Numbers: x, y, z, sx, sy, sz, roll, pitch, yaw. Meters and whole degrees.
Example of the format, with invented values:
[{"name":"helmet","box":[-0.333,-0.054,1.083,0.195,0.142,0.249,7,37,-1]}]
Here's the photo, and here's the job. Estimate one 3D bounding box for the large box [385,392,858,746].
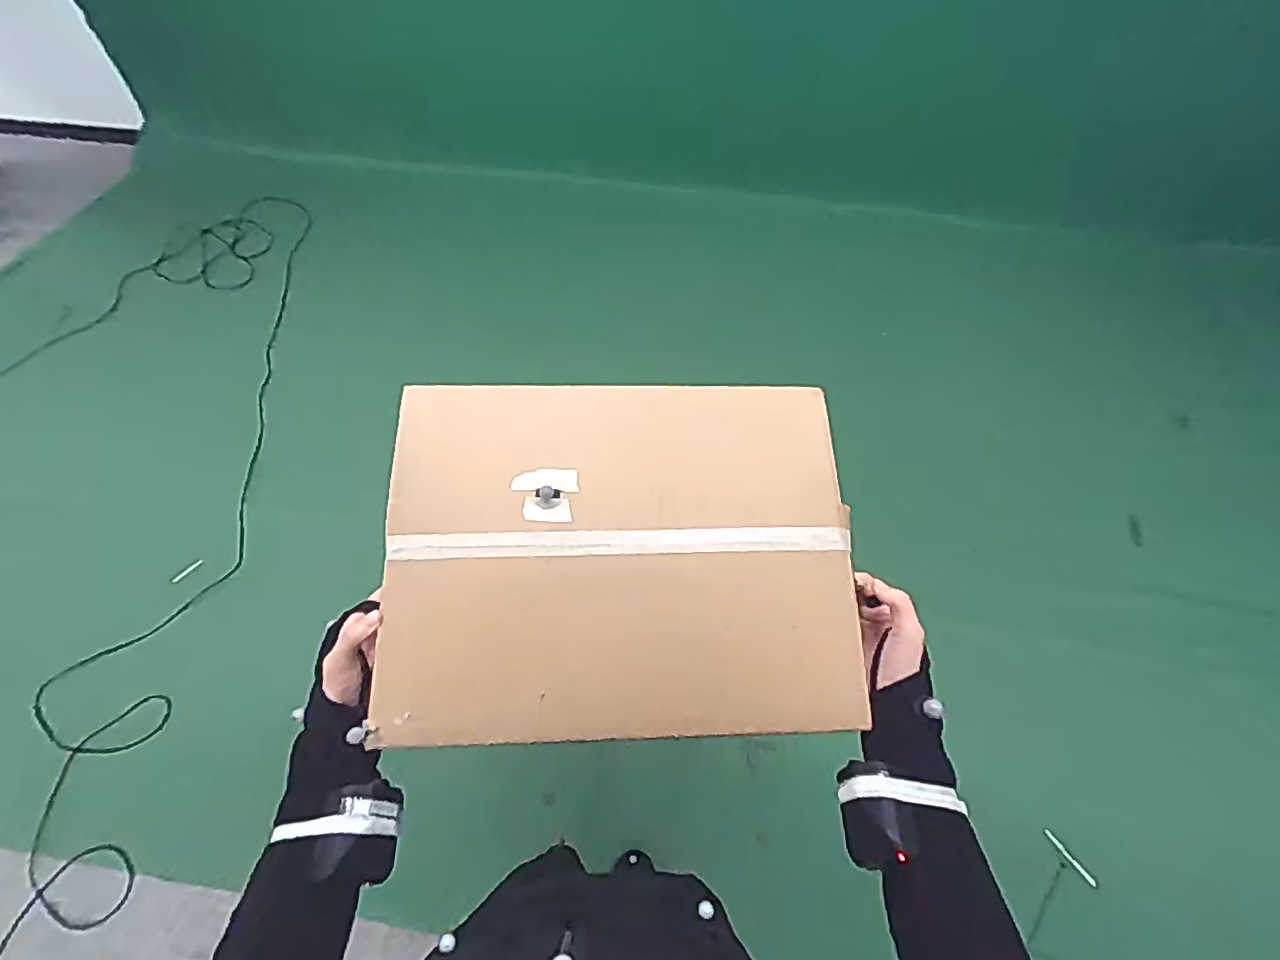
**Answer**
[{"name":"large box","box":[-0.021,0.106,0.633,0.408,0.320,0.320,-1,73,-3]}]
